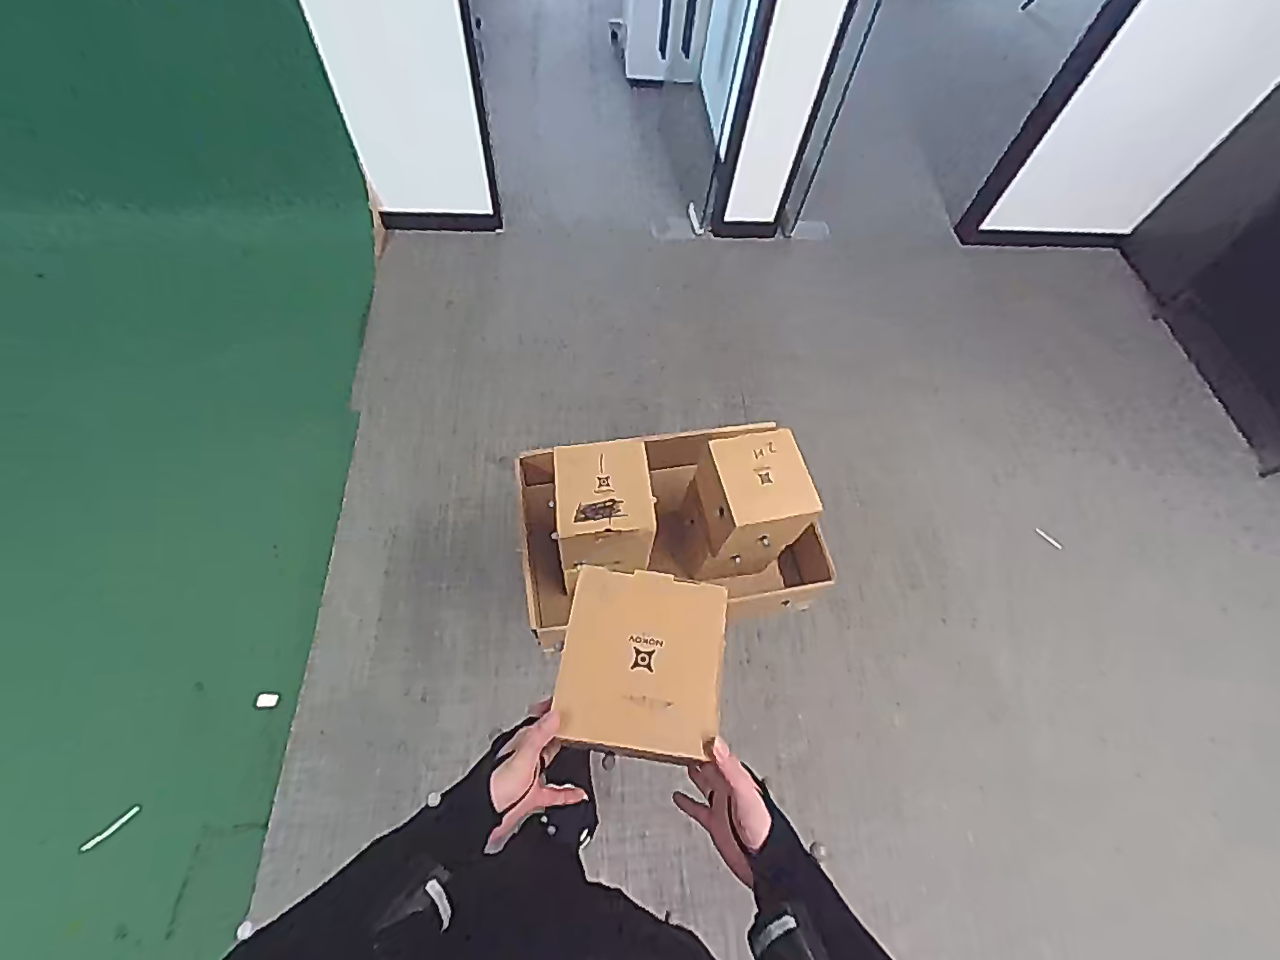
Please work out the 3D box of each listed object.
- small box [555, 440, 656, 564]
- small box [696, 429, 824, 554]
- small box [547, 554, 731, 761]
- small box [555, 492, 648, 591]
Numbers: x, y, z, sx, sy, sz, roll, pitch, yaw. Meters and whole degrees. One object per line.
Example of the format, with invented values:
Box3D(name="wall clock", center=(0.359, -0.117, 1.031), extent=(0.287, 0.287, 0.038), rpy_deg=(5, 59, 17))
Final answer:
Box3D(name="small box", center=(-0.066, 0.047, 0.984), extent=(0.168, 0.176, 0.179), rpy_deg=(-3, 61, -7))
Box3D(name="small box", center=(0.215, 0.029, 1.021), extent=(0.168, 0.176, 0.179), rpy_deg=(-9, 63, -11))
Box3D(name="small box", center=(-0.001, 0.206, 0.611), extent=(0.168, 0.176, 0.179), rpy_deg=(9, 61, 1))
Box3D(name="small box", center=(-0.082, 0.126, 1.127), extent=(0.168, 0.176, 0.179), rpy_deg=(-7, 62, -9))
